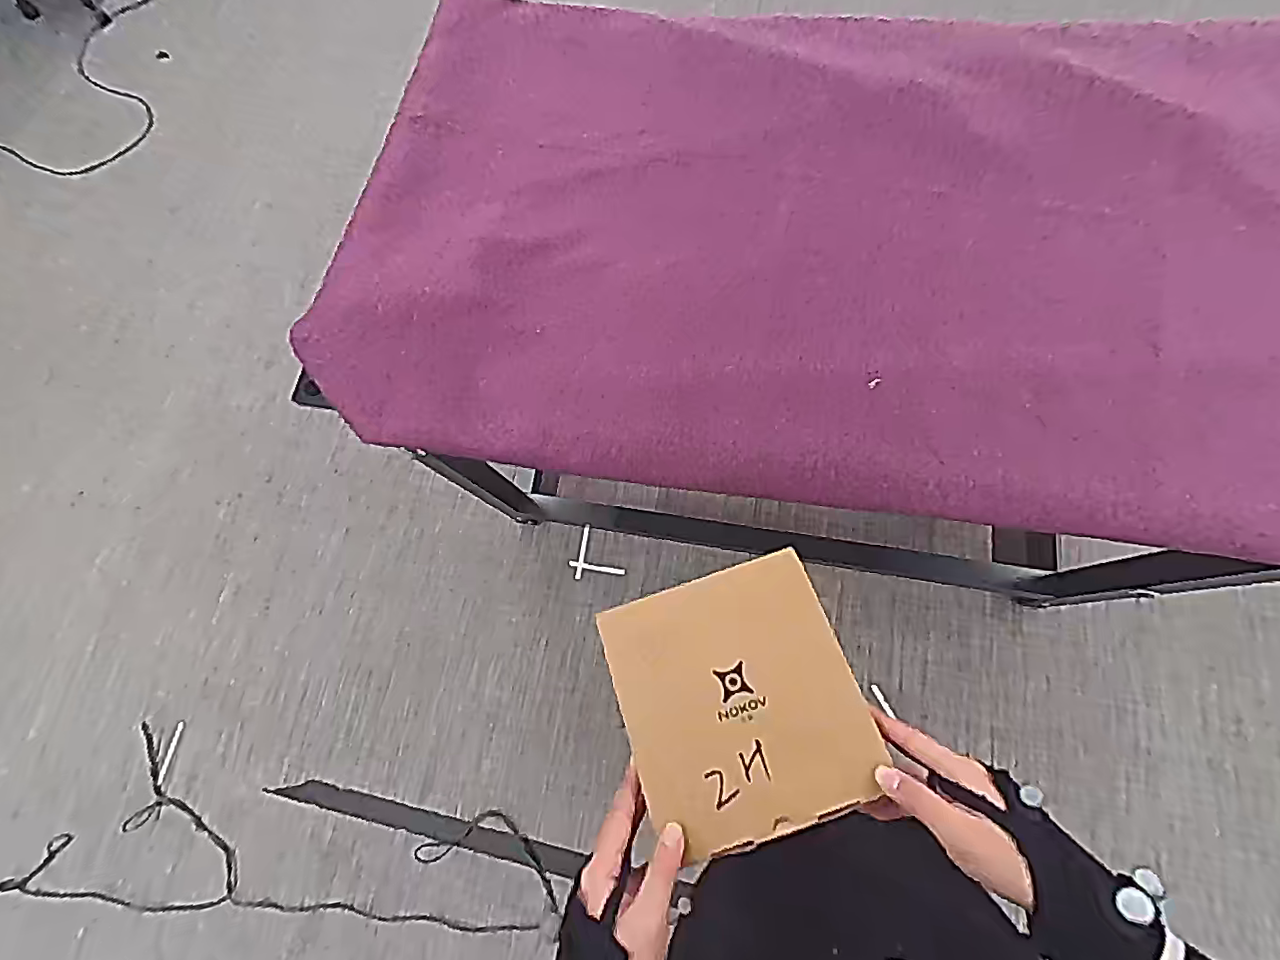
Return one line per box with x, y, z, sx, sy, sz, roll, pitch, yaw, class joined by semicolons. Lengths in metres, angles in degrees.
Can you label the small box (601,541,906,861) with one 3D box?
0.078;0.178;0.452;0.168;0.176;0.179;-19;65;-1;small box
